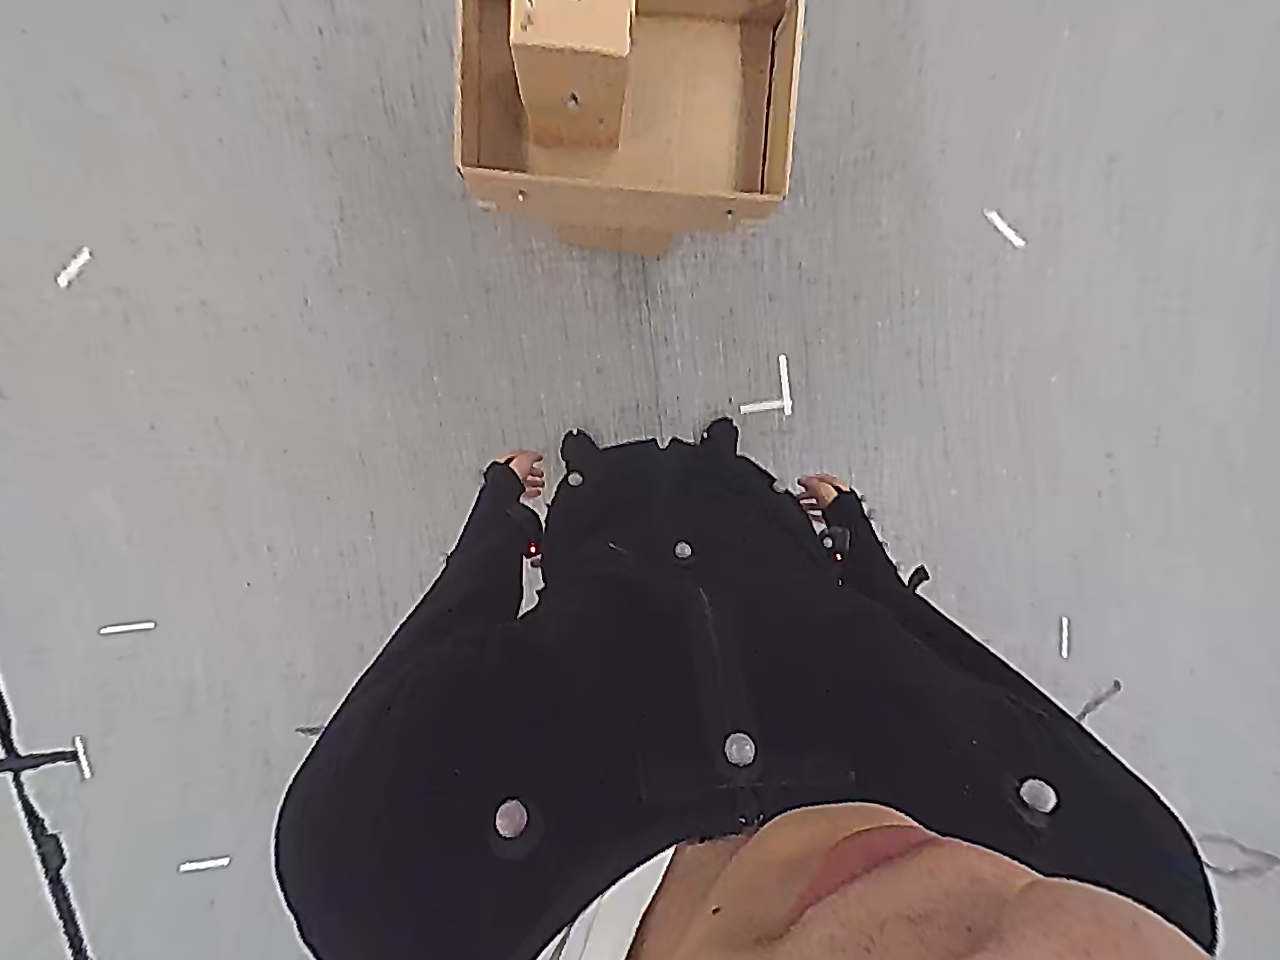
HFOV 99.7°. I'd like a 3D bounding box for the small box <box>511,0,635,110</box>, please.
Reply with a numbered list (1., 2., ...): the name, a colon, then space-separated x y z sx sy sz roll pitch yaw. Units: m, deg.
1. small box: -0.102 -0.717 0.848 0.179 0.176 0.168 3 97 -7
